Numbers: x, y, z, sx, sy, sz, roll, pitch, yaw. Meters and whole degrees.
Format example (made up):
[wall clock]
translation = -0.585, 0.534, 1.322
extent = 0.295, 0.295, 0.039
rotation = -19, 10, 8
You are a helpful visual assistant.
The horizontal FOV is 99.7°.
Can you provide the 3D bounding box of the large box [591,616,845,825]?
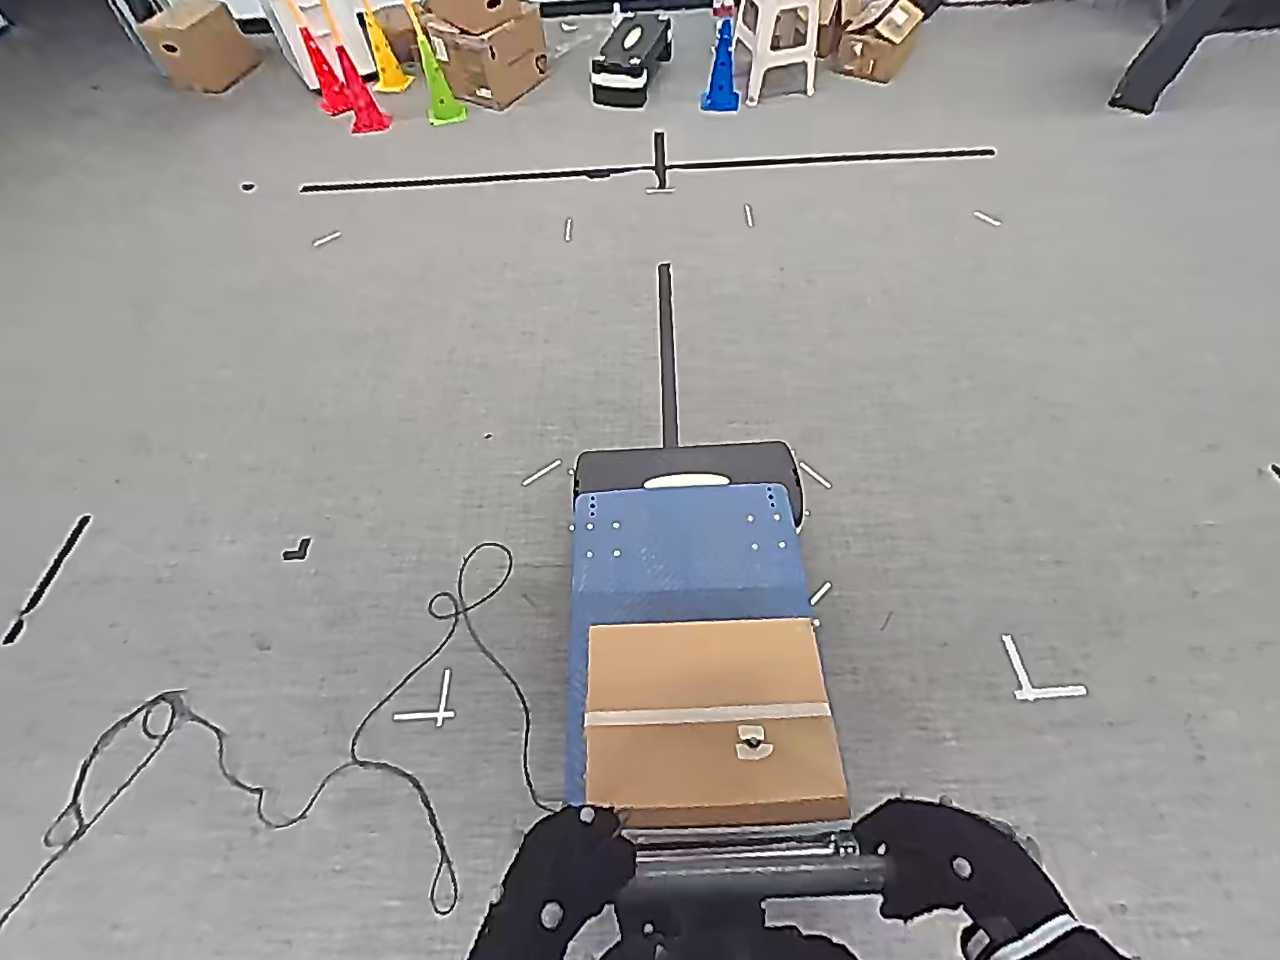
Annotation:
[large box]
translation = 0.117, 0.471, 1.043
extent = 0.408, 0.320, 0.320
rotation = -2, 58, -1
